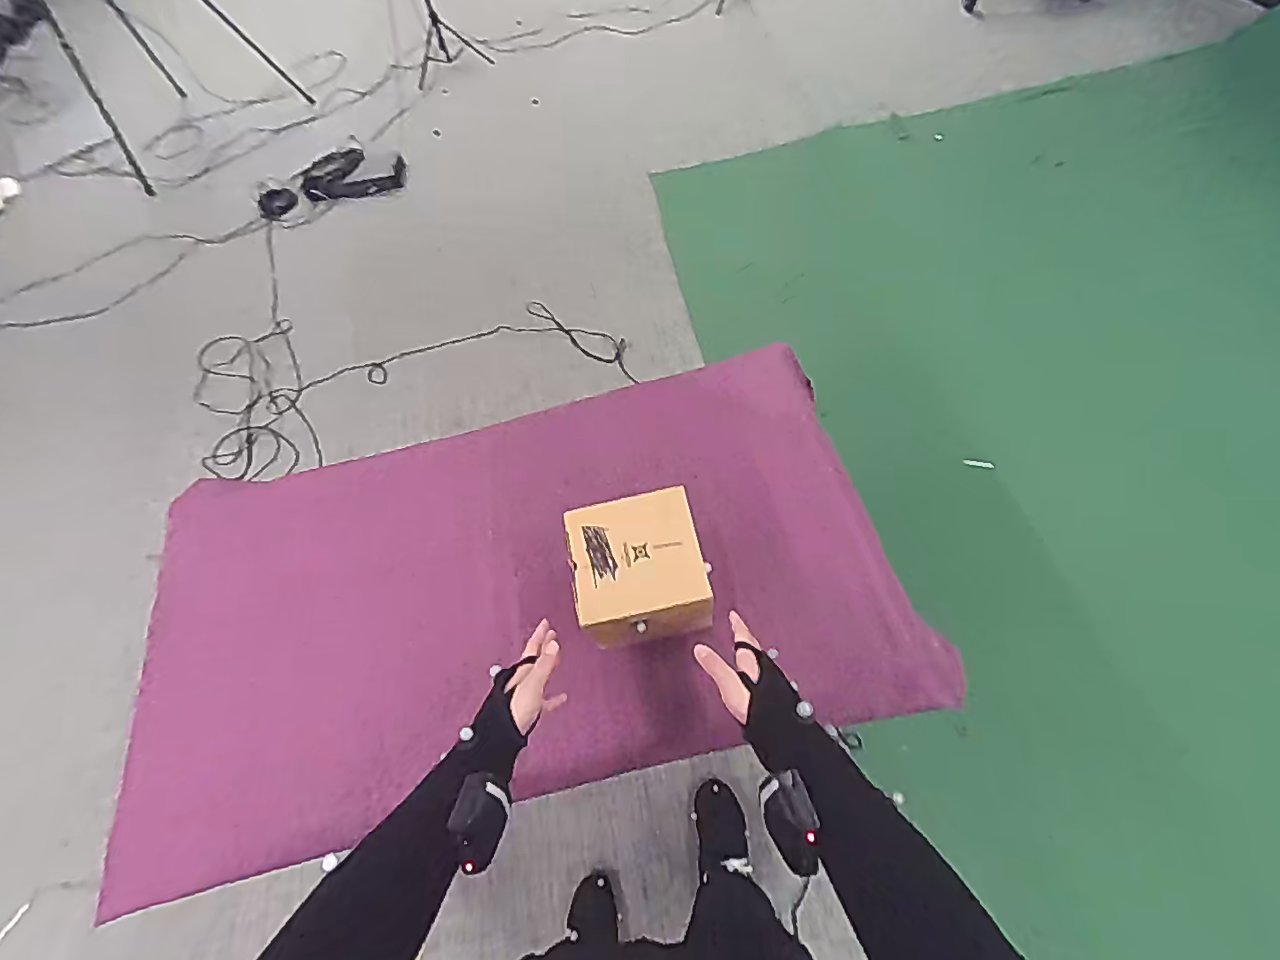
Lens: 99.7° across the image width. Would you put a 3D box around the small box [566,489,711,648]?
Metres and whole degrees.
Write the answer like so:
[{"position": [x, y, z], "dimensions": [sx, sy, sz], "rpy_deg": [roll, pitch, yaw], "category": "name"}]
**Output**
[{"position": [0.002, 0.137, 0.794], "dimensions": [0.179, 0.176, 0.168], "rpy_deg": [-12, 62, 0], "category": "small box"}]
